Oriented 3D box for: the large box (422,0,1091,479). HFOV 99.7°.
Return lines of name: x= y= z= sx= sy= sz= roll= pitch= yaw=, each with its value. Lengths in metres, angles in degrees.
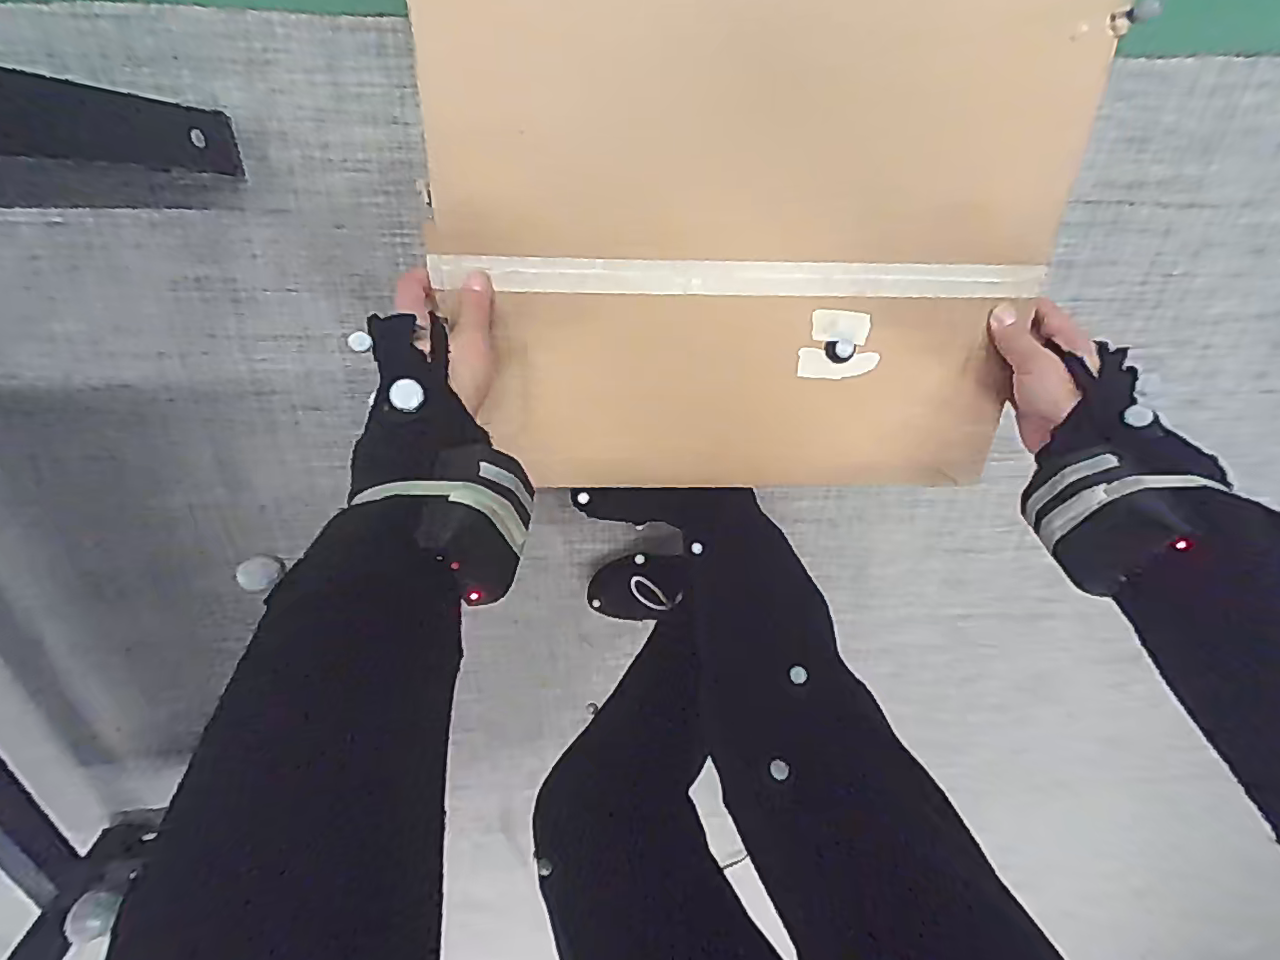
large box: x=0.063 y=-0.206 z=0.508 sx=0.408 sy=0.320 sz=0.320 roll=-1 pitch=115 yaw=-4
